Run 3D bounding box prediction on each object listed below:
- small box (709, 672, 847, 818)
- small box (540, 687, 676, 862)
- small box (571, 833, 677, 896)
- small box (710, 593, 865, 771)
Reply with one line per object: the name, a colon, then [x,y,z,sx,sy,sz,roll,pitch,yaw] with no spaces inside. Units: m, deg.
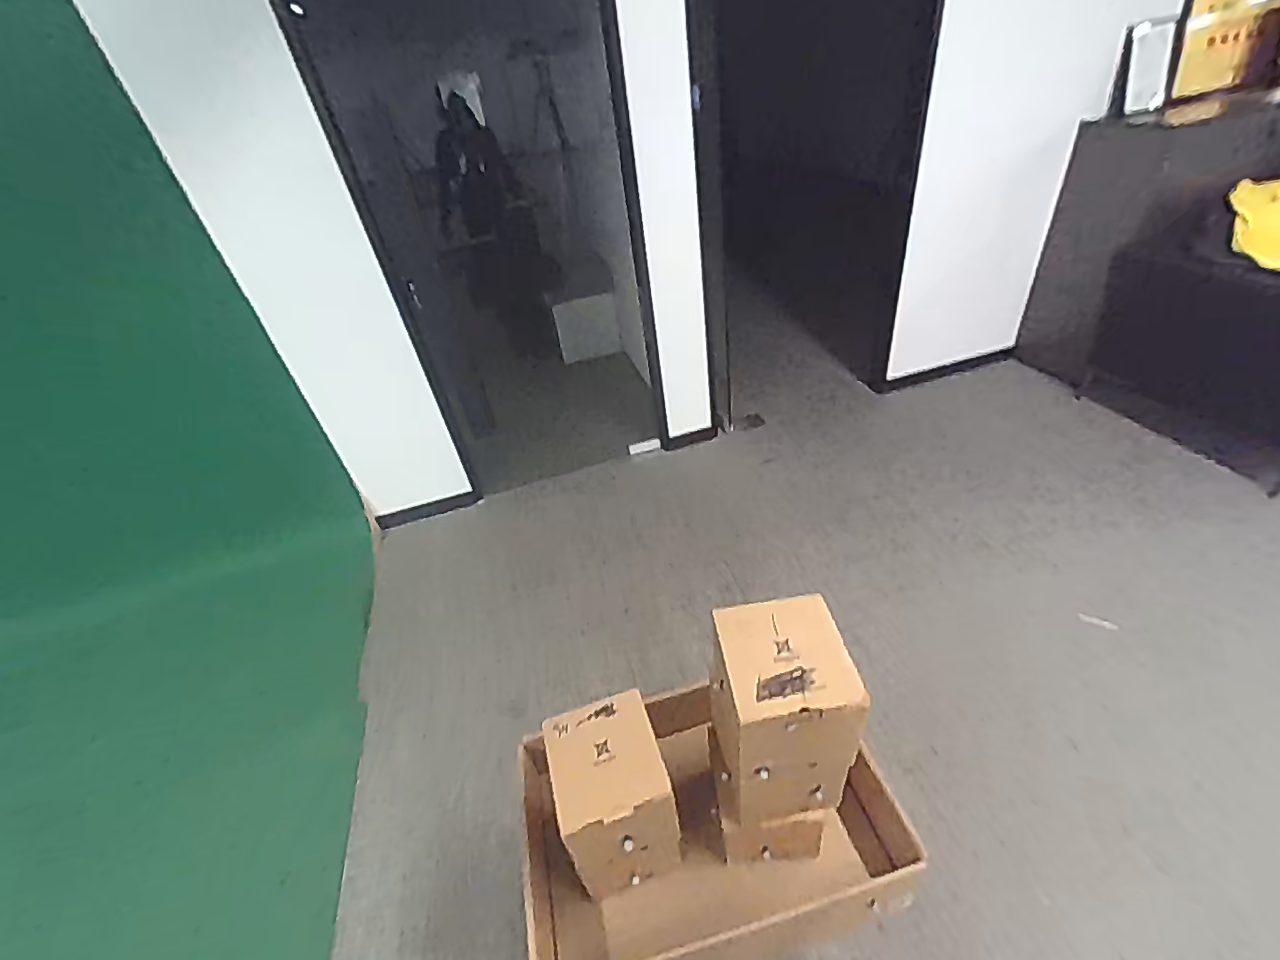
small box: [0.213,0.418,0.872,0.168,0.176,0.179,-10,38,-2]
small box: [-0.048,0.469,0.854,0.168,0.176,0.179,-15,39,-9]
small box: [-0.041,0.591,0.964,0.168,0.176,0.179,-16,38,-9]
small box: [0.199,0.291,0.770,0.168,0.176,0.179,-8,37,0]
